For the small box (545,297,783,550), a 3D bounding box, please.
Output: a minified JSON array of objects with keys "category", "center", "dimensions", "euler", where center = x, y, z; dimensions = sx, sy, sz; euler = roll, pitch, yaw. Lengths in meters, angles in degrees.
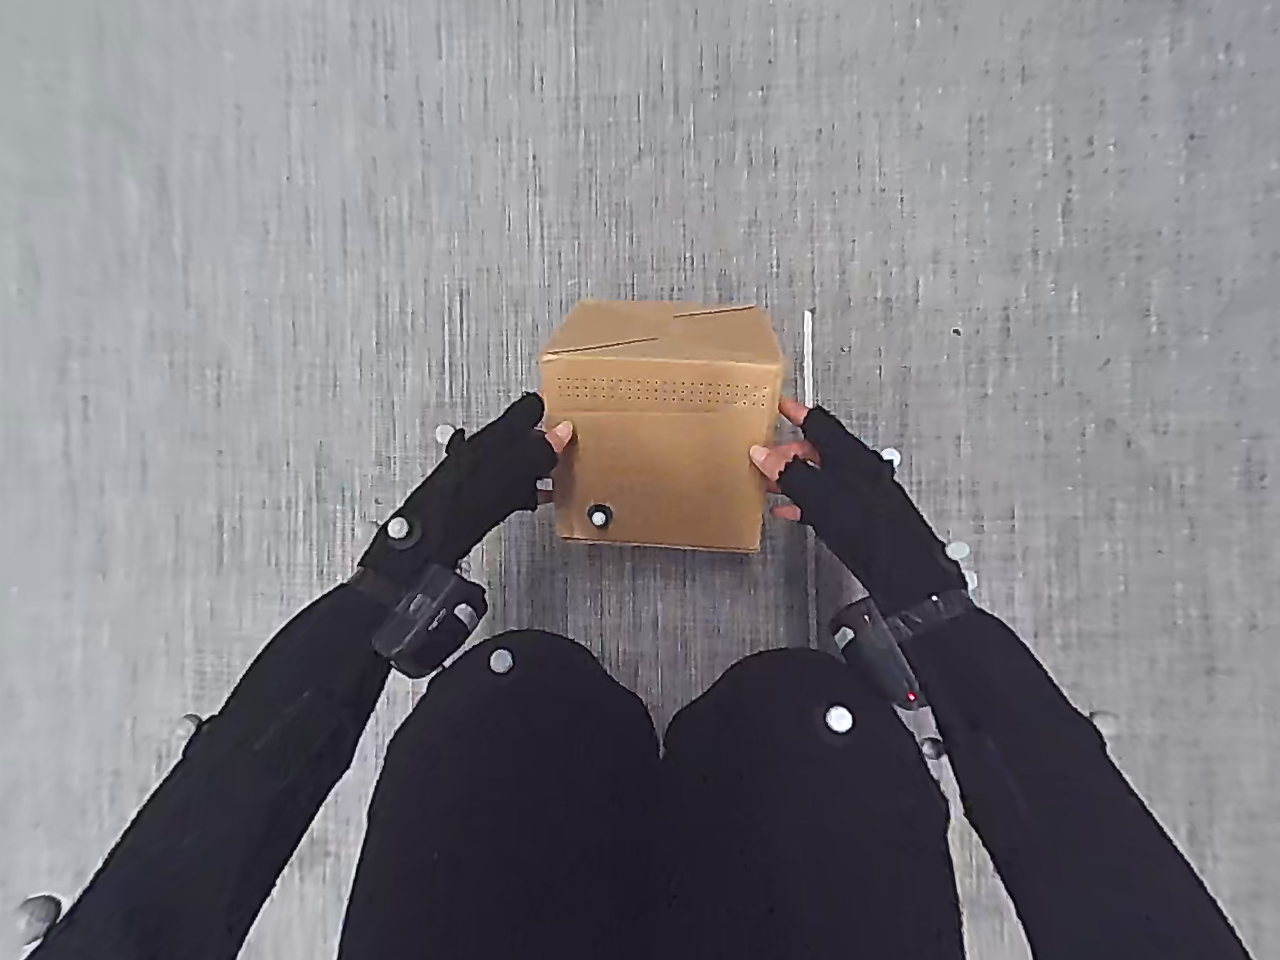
[{"category":"small box","center":[0.024,-0.058,0.483],"dimensions":[0.179,0.168,0.176],"euler":[4,122,4]}]
